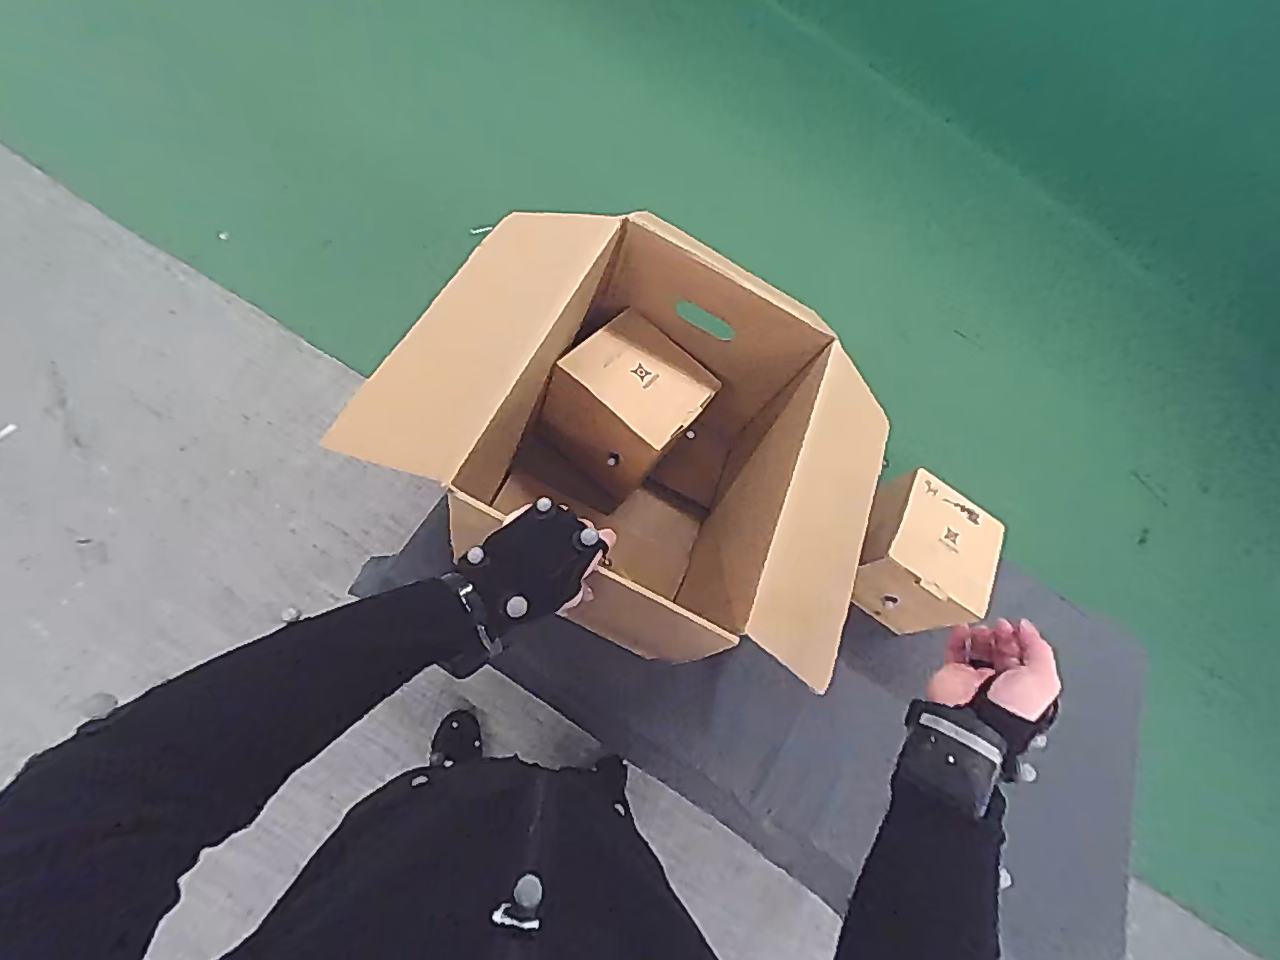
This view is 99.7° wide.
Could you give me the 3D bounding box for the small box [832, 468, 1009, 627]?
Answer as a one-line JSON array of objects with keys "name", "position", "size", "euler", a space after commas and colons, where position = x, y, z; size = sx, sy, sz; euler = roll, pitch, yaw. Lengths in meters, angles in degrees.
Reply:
[{"name": "small box", "position": [0.440, 0.118, 0.872], "size": [0.168, 0.176, 0.179], "euler": [36, 64, -1]}]
